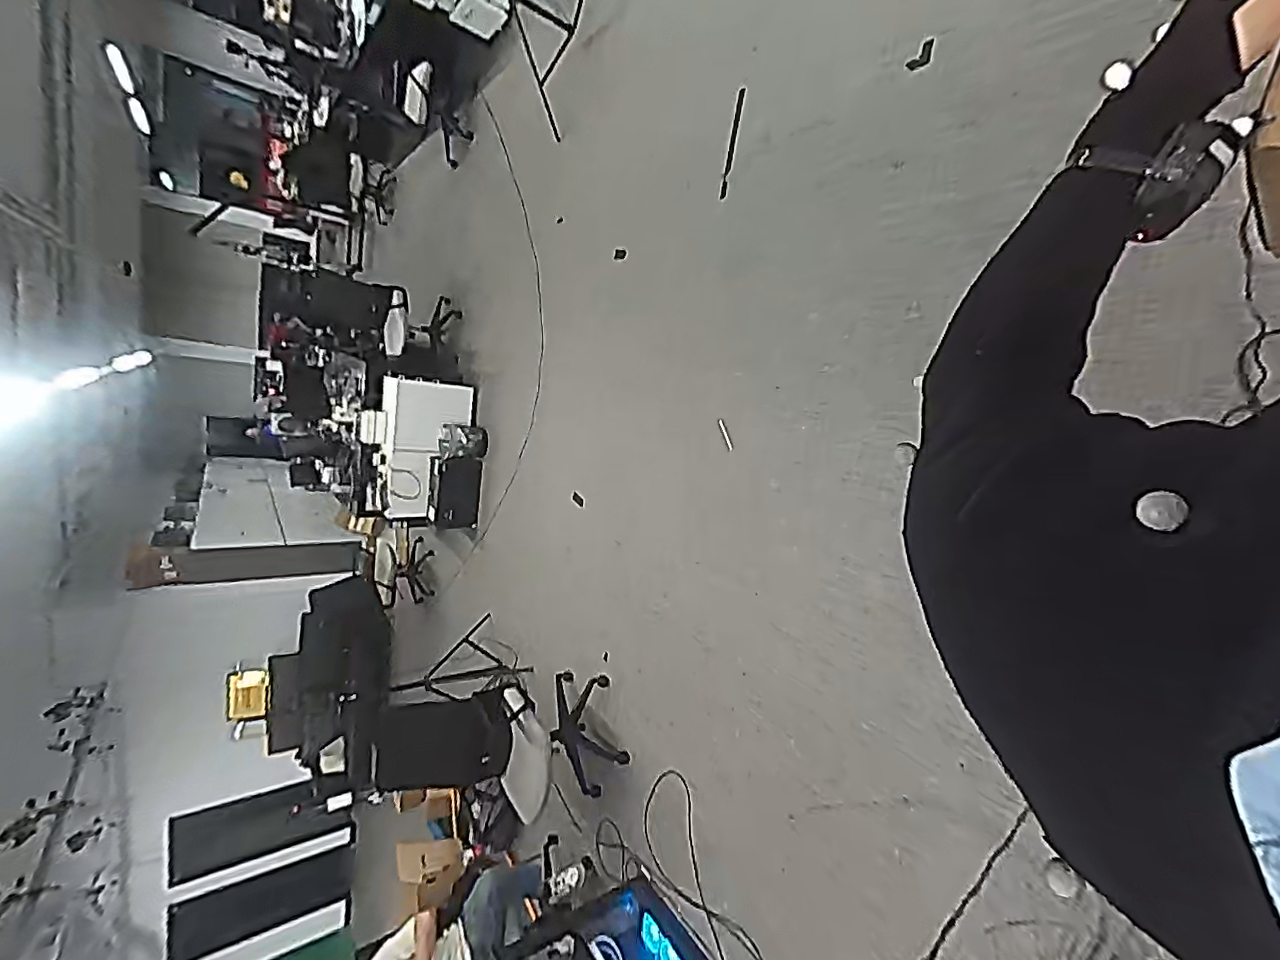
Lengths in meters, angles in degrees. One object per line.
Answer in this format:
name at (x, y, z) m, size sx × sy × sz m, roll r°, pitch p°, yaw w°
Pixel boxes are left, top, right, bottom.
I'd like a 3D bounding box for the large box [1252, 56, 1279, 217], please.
large box at (0.680, -0.330, 0.279) m, size 0.408 × 0.320 × 0.320 m, roll 24°, pitch 109°, yaw 50°
